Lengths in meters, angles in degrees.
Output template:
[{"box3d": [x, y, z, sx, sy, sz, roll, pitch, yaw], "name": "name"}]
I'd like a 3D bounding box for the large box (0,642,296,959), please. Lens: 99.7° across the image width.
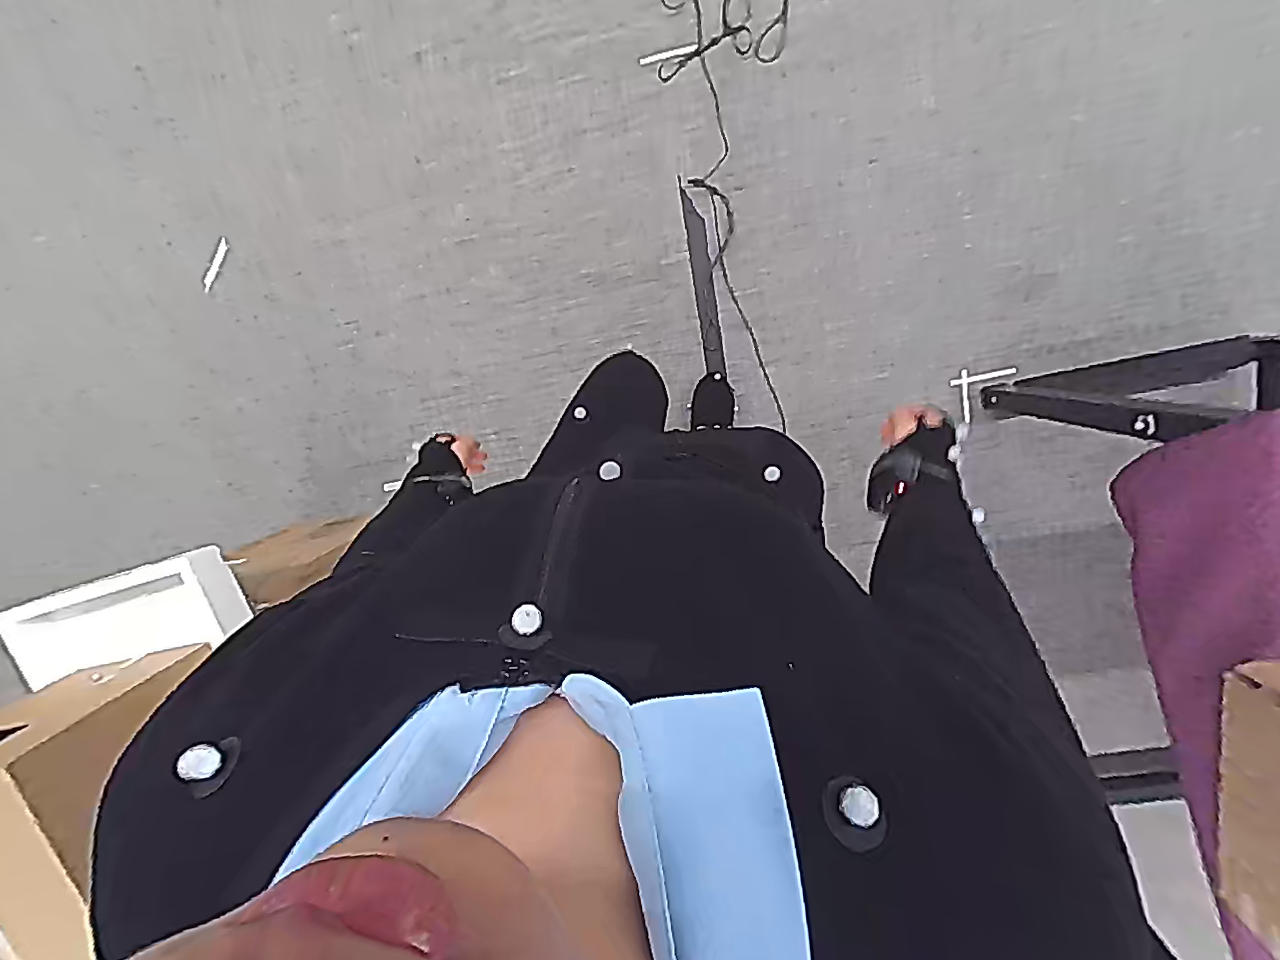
[{"box3d": [-0.869, 0.542, 0.883, 0.320, 0.320, 0.408, -14, 103, 10], "name": "large box"}]
